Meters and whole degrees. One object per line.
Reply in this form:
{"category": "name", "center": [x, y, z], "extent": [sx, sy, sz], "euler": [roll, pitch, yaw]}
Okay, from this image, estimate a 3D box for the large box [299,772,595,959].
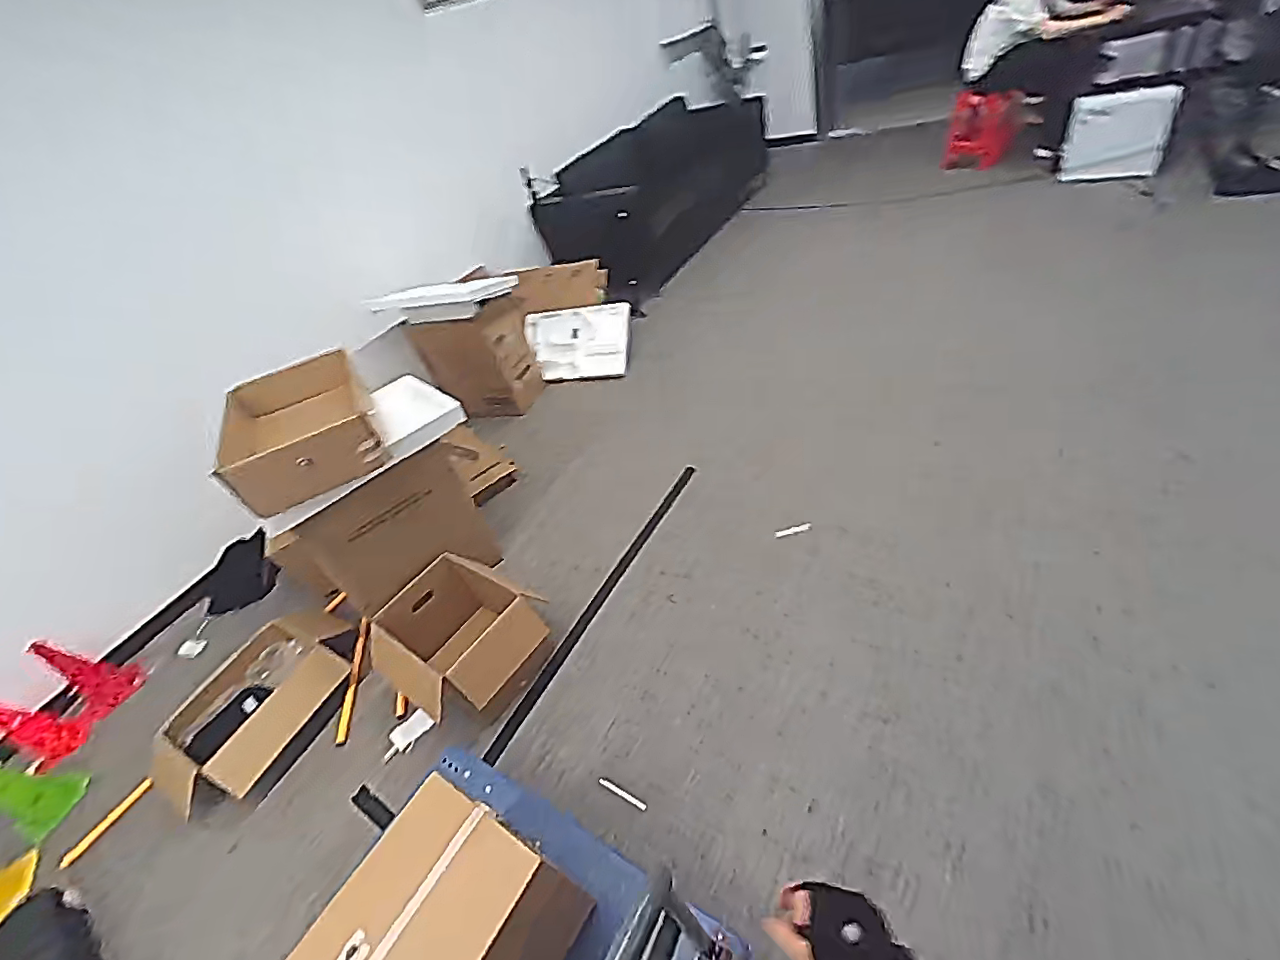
{"category": "large box", "center": [-0.348, 0.859, 1.013], "extent": [0.320, 0.320, 0.408], "euler": [13, 50, 33]}
